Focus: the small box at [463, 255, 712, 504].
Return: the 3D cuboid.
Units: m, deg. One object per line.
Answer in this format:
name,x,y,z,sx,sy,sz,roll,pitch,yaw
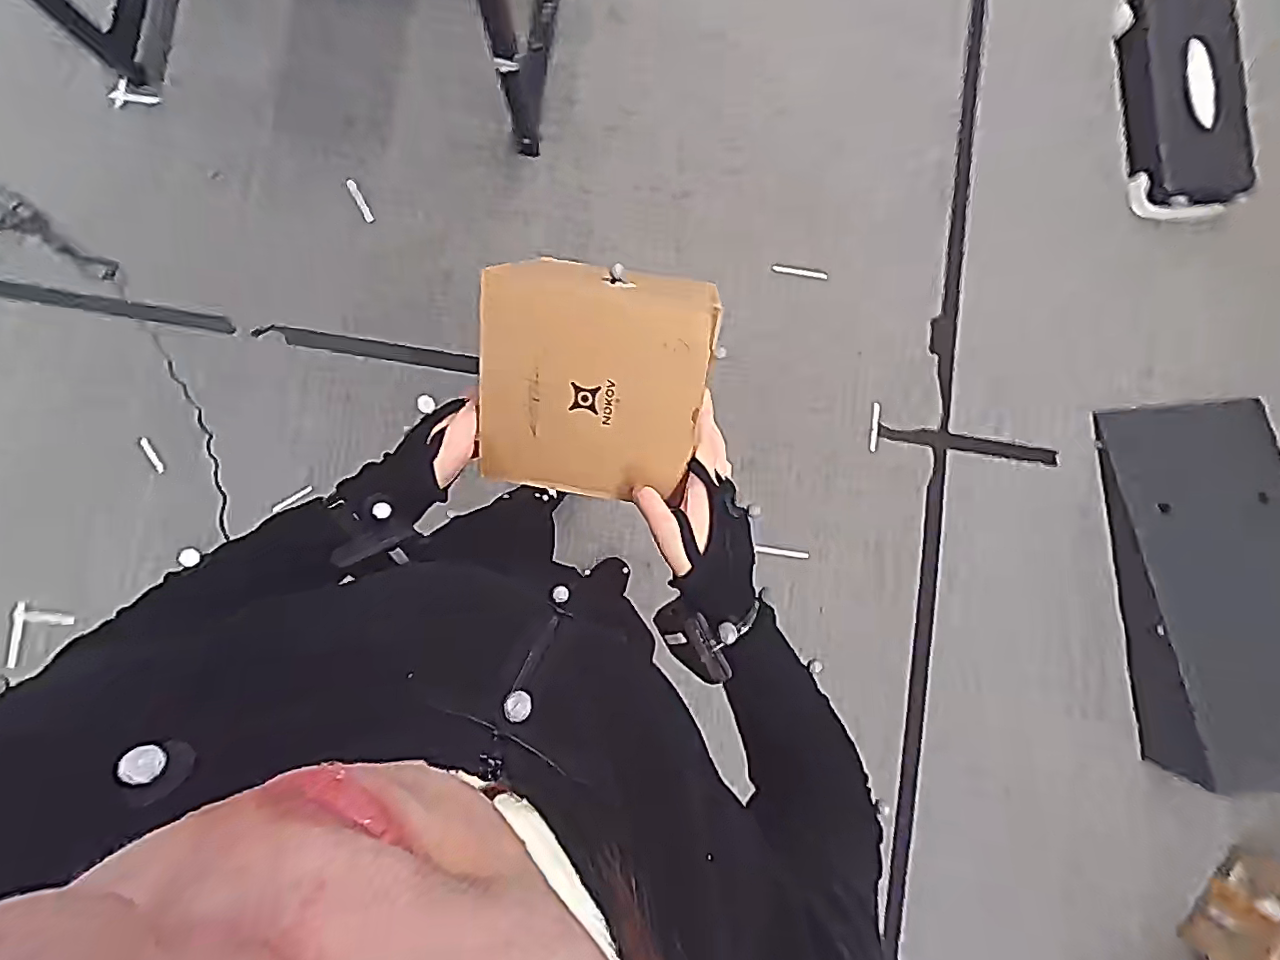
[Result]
small box,-0.040,-0.099,0.476,0.179,0.176,0.168,9,115,1
